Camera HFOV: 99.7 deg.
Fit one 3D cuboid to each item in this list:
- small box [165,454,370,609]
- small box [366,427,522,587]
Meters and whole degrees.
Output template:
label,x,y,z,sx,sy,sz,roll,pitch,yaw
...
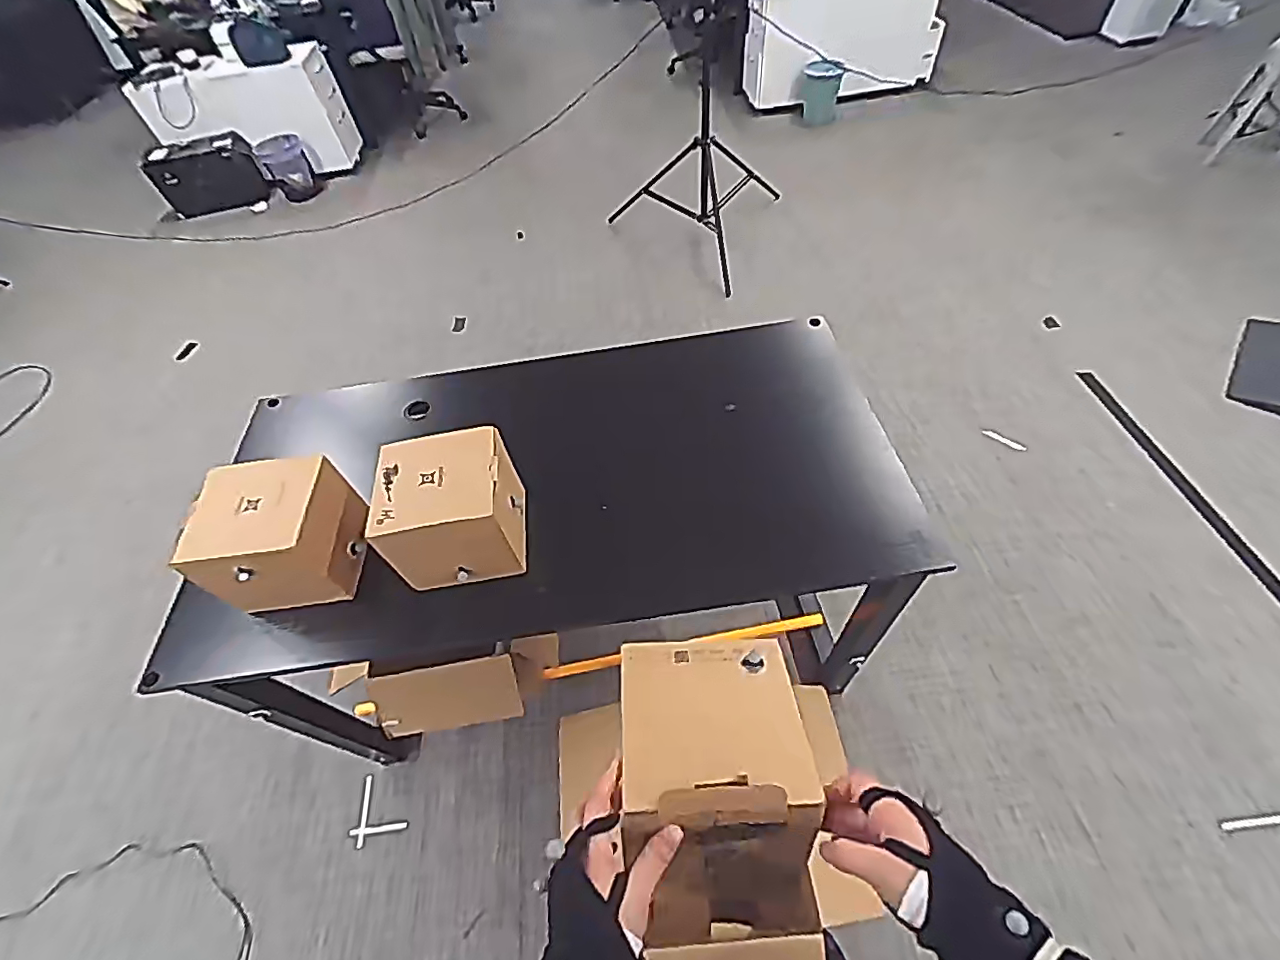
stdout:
label,x,y,z,sx,sy,sz,roll,pitch,yaw
small box,-0.541,0.084,0.820,0.179,0.176,0.168,-7,54,0
small box,-0.280,0.045,0.821,0.179,0.176,0.168,-9,53,-2
